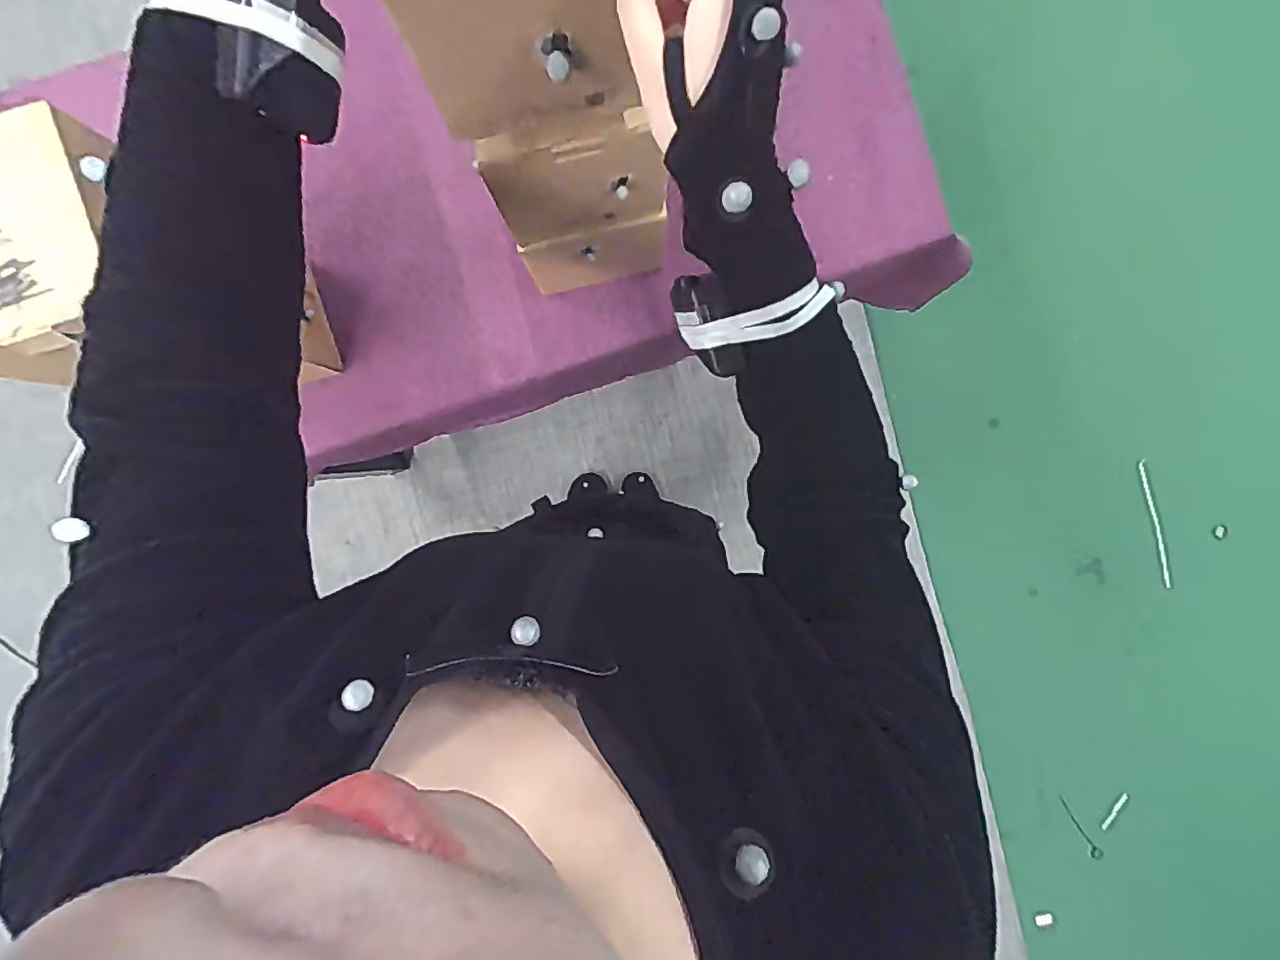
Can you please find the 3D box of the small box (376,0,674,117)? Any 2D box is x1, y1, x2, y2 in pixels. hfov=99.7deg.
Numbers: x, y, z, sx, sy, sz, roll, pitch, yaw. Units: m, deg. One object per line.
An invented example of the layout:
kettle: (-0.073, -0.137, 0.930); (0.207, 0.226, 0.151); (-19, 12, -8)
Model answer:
small box: (-0.071, -0.345, 0.312); (0.168, 0.176, 0.179); (-12, 97, -2)

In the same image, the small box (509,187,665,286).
small box: (-0.070, -0.362, 0.681); (0.179, 0.176, 0.168); (-13, 93, 1)

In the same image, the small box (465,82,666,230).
small box: (-0.072, -0.363, 0.518); (0.168, 0.176, 0.179); (-13, 92, 0)
